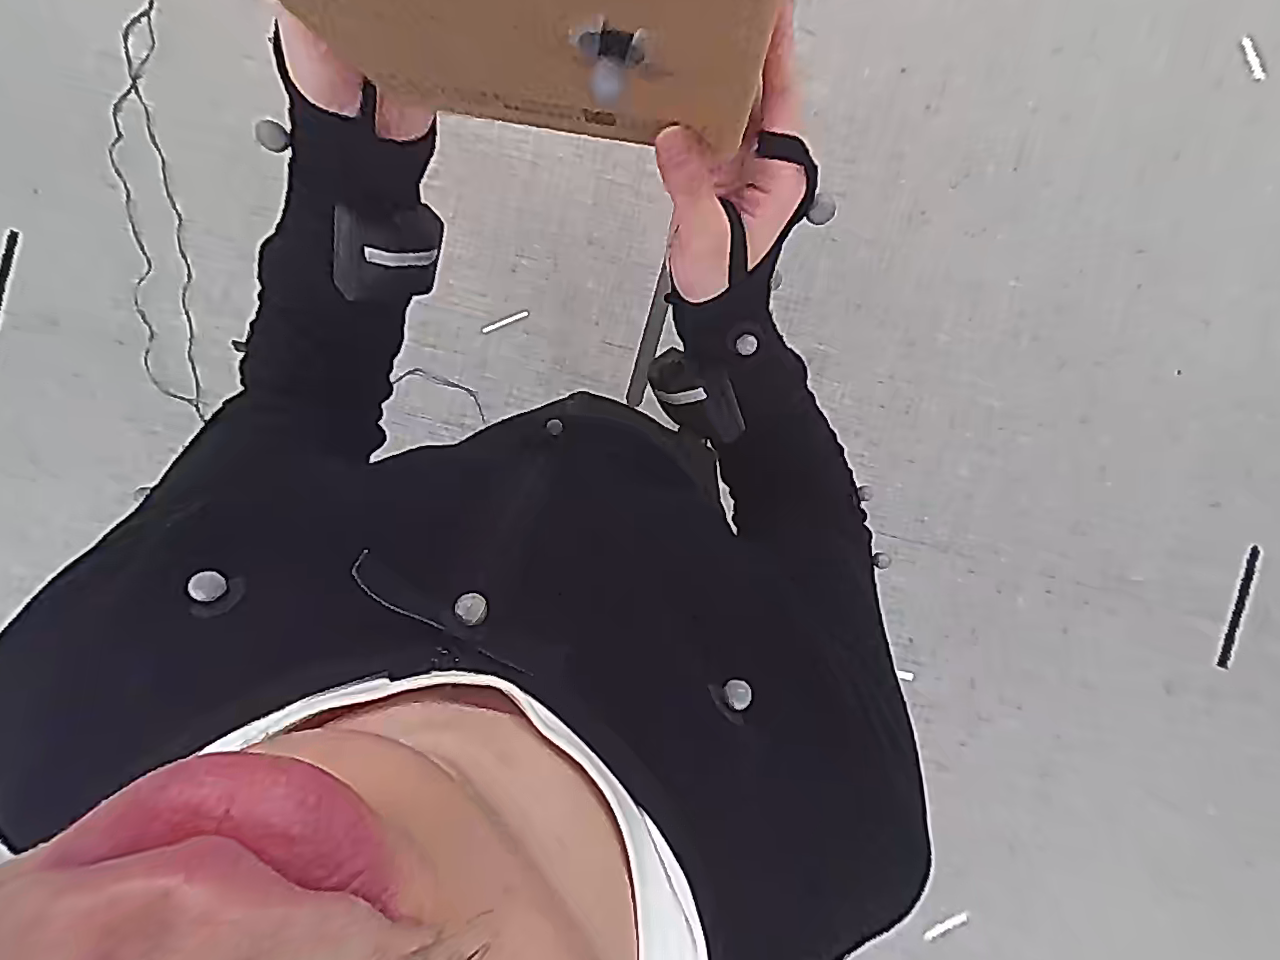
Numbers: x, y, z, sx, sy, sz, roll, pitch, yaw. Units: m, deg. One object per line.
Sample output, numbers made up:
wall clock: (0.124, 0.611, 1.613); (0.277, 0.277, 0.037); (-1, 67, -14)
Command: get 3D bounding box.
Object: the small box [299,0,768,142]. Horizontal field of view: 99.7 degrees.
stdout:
small box: (-0.030, -0.234, 0.169); (0.168, 0.176, 0.179); (7, 103, 2)
